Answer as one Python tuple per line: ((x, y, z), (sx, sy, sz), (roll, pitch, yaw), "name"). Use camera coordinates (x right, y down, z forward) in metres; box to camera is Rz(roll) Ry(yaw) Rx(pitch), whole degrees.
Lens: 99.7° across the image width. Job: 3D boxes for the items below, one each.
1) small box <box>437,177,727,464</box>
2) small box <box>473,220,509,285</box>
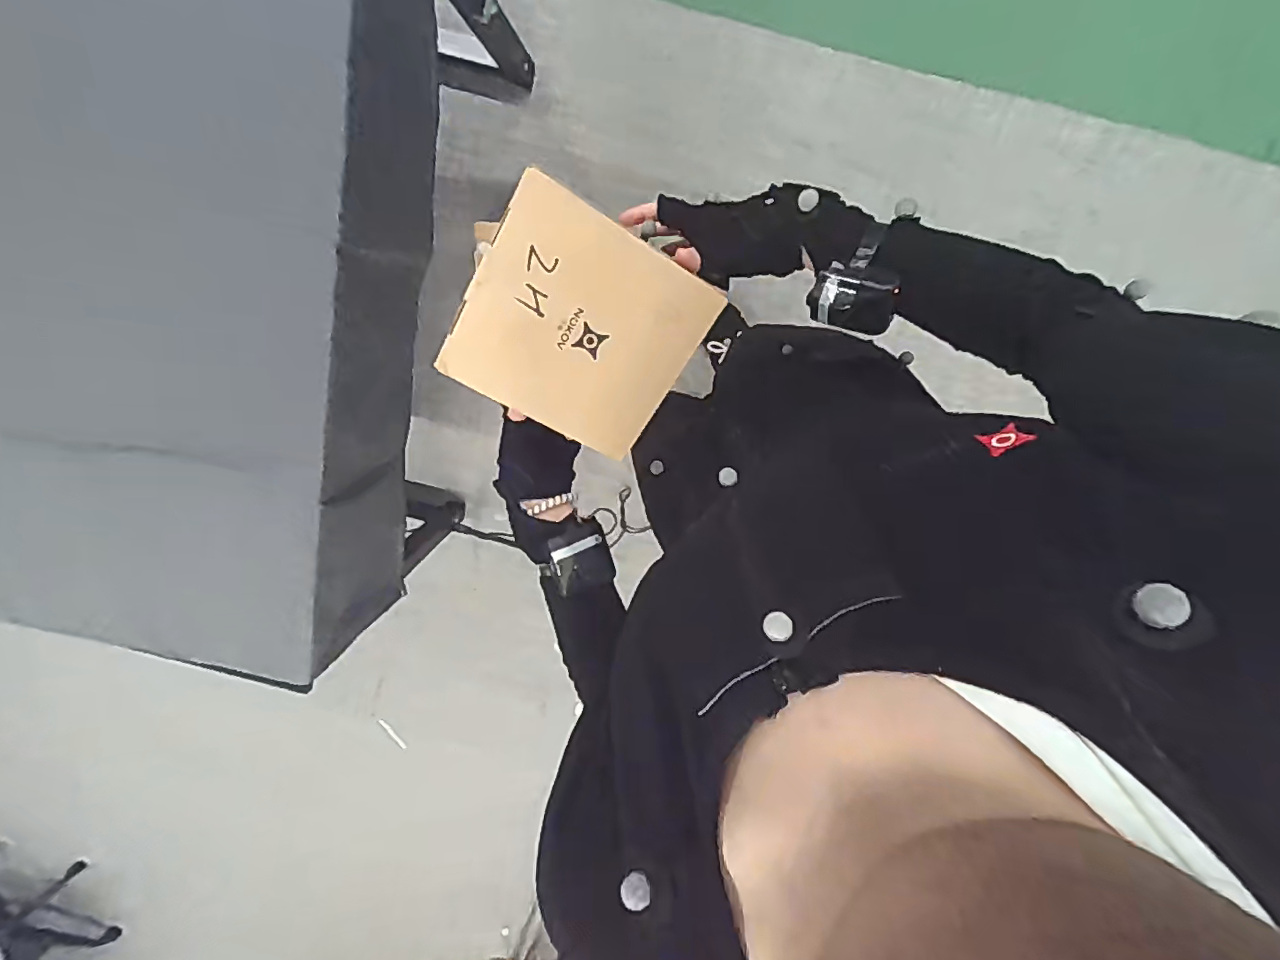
((-0.053, -0.150, 0.492), (0.179, 0.176, 0.168), (28, 112, -20), "small box")
((-0.279, -0.516, 1.291), (0.179, 0.176, 0.168), (3, 109, 4), "small box")
